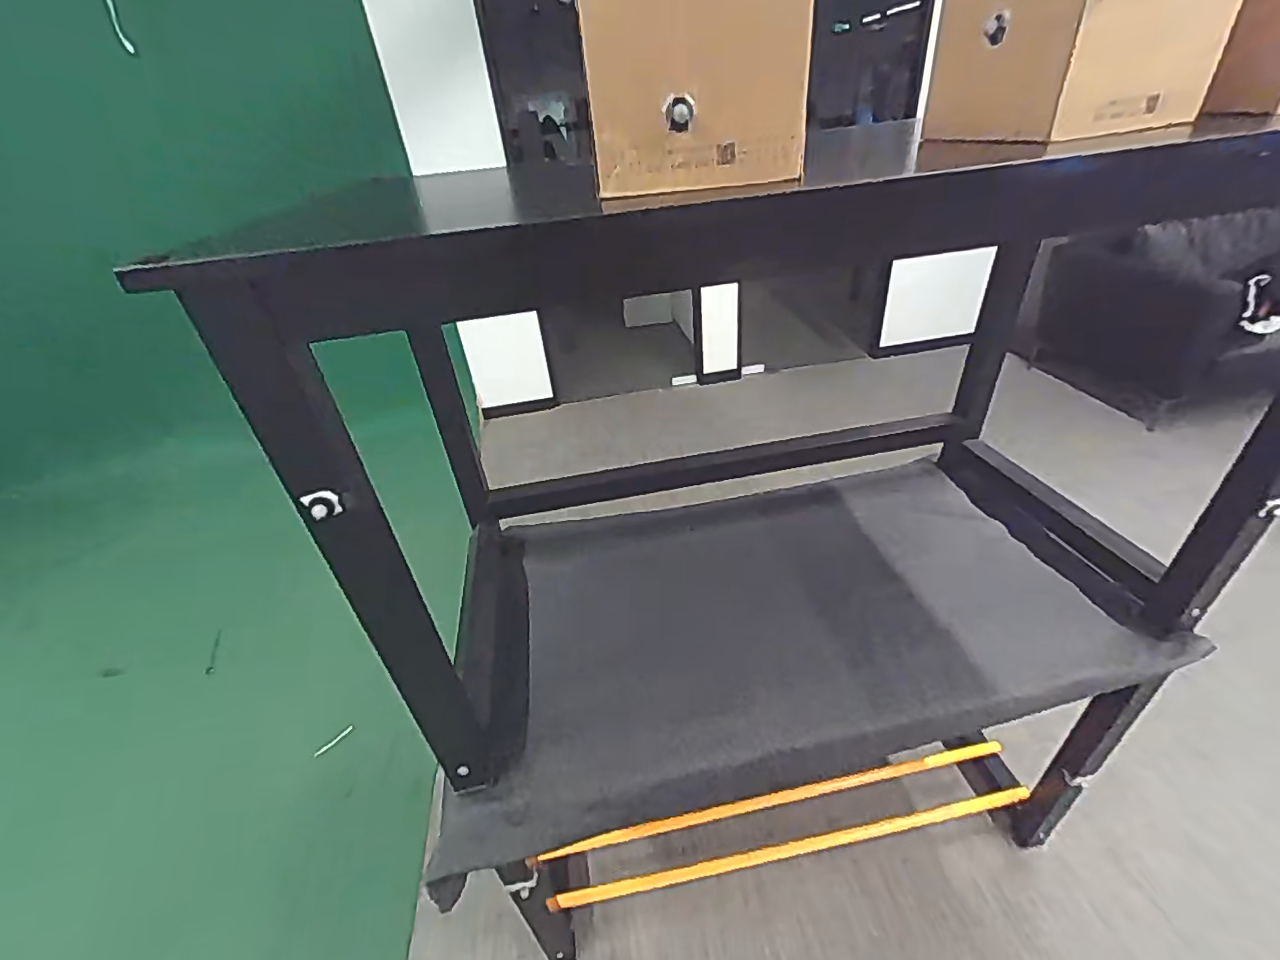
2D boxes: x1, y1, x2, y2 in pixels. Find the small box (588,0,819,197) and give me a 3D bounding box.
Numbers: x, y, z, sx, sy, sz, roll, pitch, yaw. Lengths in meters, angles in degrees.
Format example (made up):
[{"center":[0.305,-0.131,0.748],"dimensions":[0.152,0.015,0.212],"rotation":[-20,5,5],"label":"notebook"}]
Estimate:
[{"center":[0.045,-0.349,0.467],"dimensions":[0.168,0.176,0.179],"rotation":[-4,34,2],"label":"small box"}]
